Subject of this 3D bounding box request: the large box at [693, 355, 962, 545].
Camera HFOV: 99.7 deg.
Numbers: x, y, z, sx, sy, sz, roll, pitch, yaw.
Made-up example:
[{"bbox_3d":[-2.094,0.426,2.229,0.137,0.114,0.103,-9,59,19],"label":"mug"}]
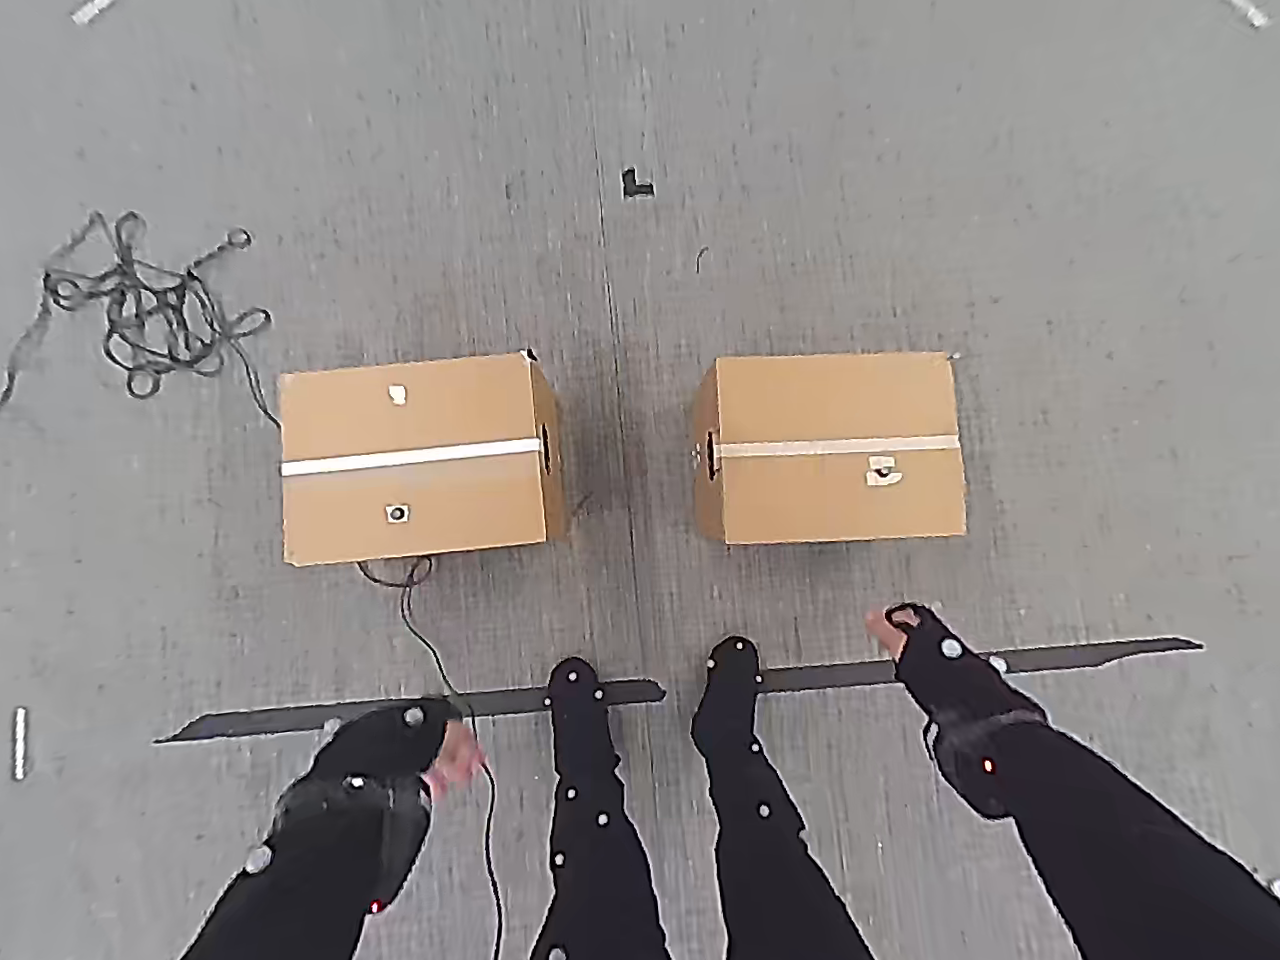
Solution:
[{"bbox_3d":[0.328,-0.042,1.054,0.408,0.320,0.320,-1,86,-3],"label":"large box"}]
